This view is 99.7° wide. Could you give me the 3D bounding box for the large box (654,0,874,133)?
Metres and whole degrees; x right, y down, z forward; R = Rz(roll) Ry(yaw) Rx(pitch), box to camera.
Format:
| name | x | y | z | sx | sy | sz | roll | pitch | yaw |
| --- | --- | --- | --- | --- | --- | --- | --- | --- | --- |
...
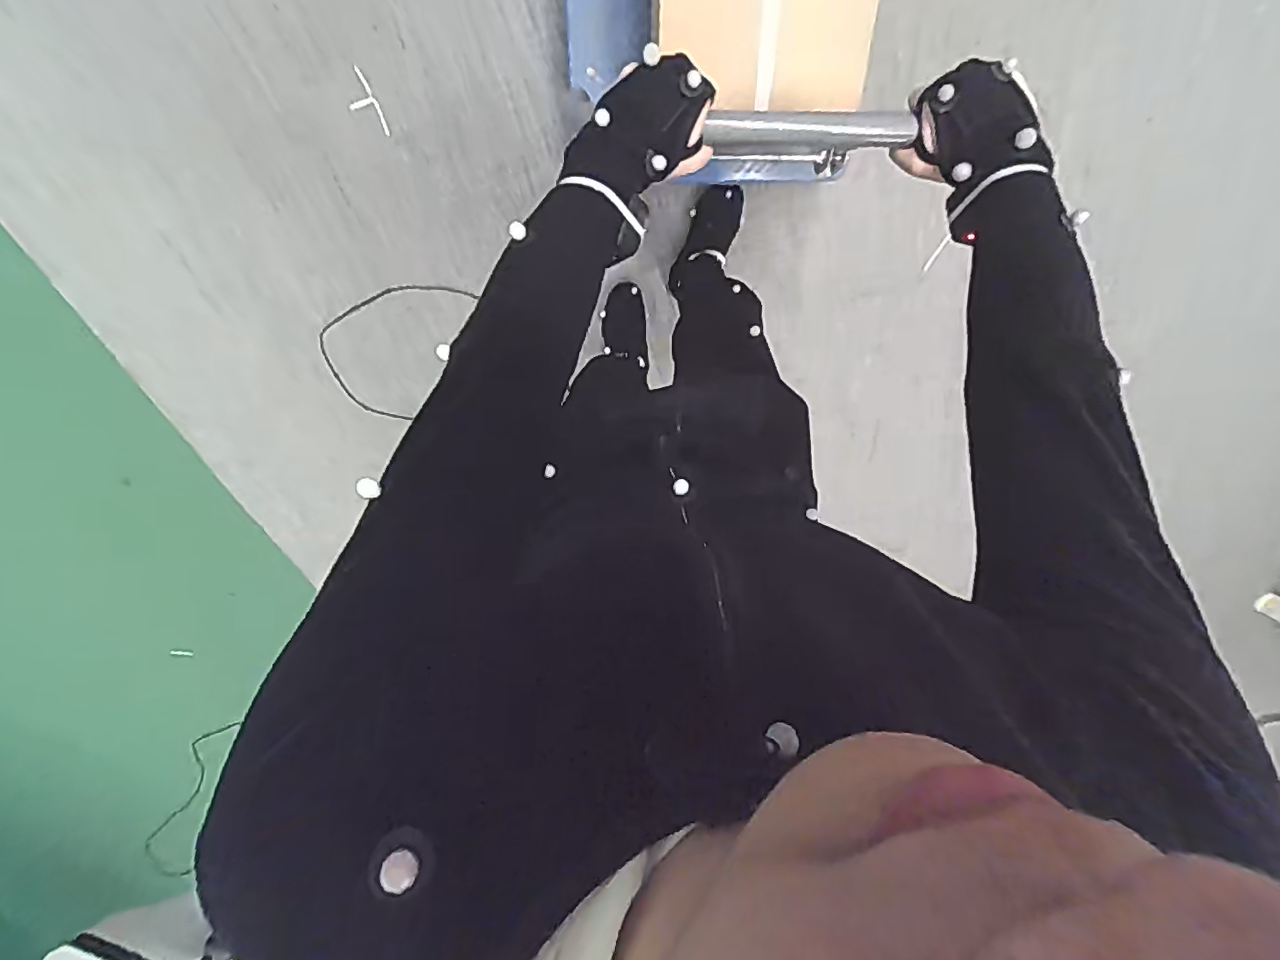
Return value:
| name | x | y | z | sx | sy | sz | roll | pitch | yaw |
| --- | --- | --- | --- | --- | --- | --- | --- | --- | --- |
| large box | 0.179 | -0.806 | 0.869 | 0.320 | 0.320 | 0.408 | -1 | 119 | -2 |
